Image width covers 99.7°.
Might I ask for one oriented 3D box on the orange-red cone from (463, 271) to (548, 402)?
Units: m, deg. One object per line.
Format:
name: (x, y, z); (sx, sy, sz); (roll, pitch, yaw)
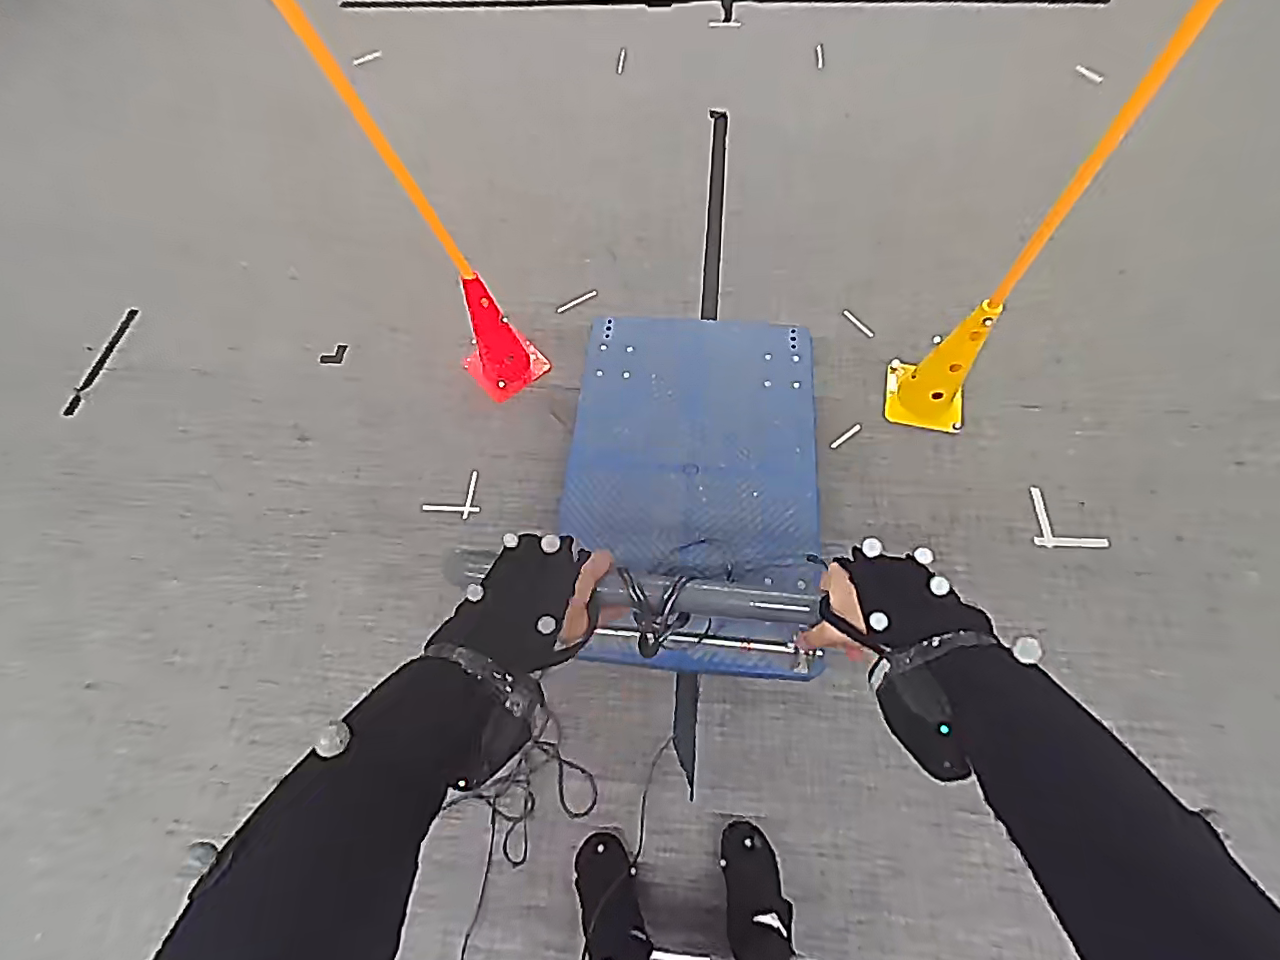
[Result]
orange-red cone: (-0.397, -0.407, 1.434); (0.199, 0.360, 0.198); (-37, 70, -15)
